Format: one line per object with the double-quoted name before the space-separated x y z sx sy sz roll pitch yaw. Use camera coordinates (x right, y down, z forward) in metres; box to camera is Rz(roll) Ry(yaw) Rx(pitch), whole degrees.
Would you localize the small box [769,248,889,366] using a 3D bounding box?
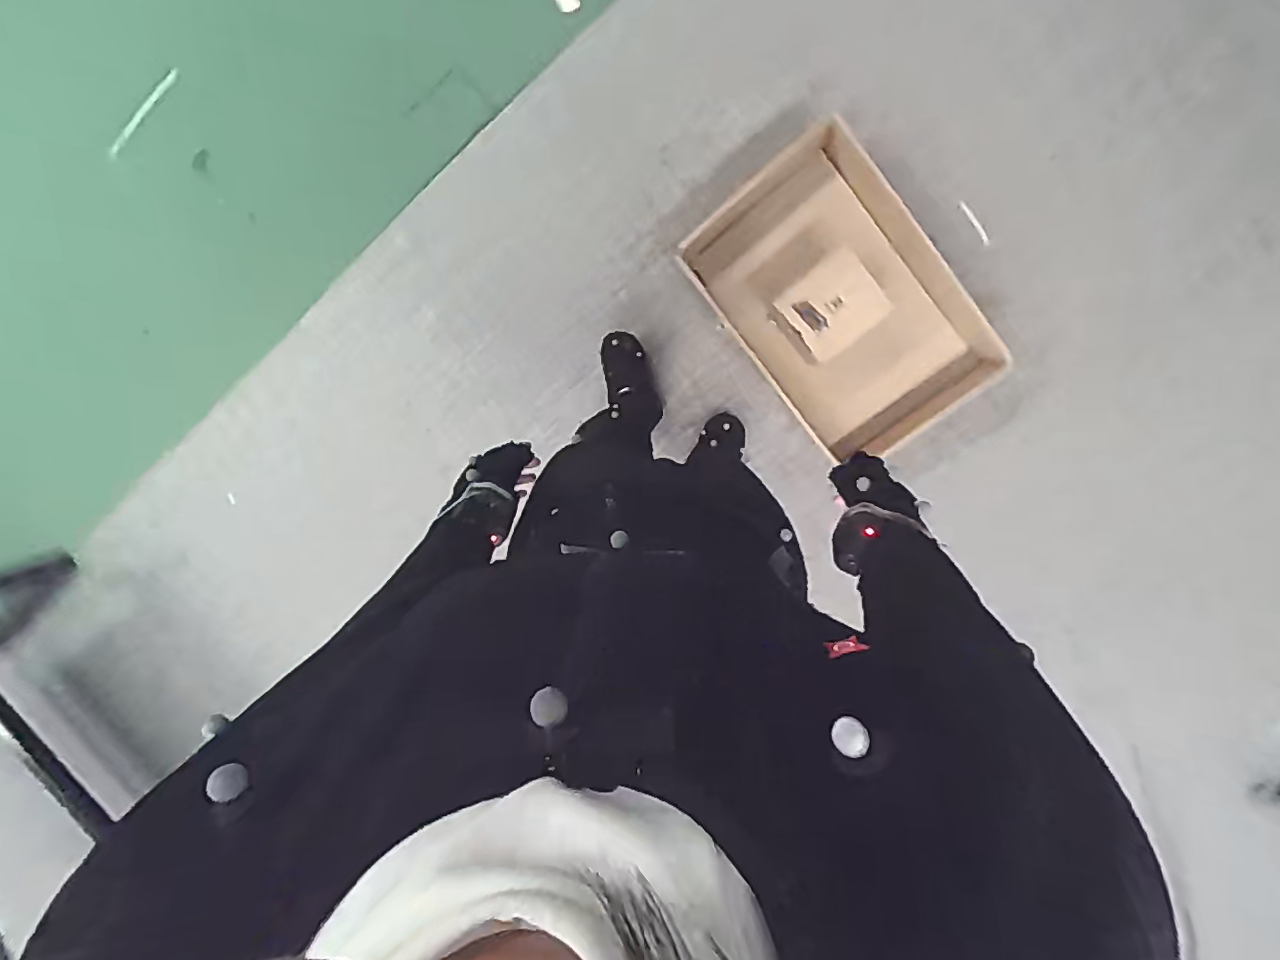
"small box" 0.396 -0.361 1.169 0.179 0.176 0.168 -37 94 13
